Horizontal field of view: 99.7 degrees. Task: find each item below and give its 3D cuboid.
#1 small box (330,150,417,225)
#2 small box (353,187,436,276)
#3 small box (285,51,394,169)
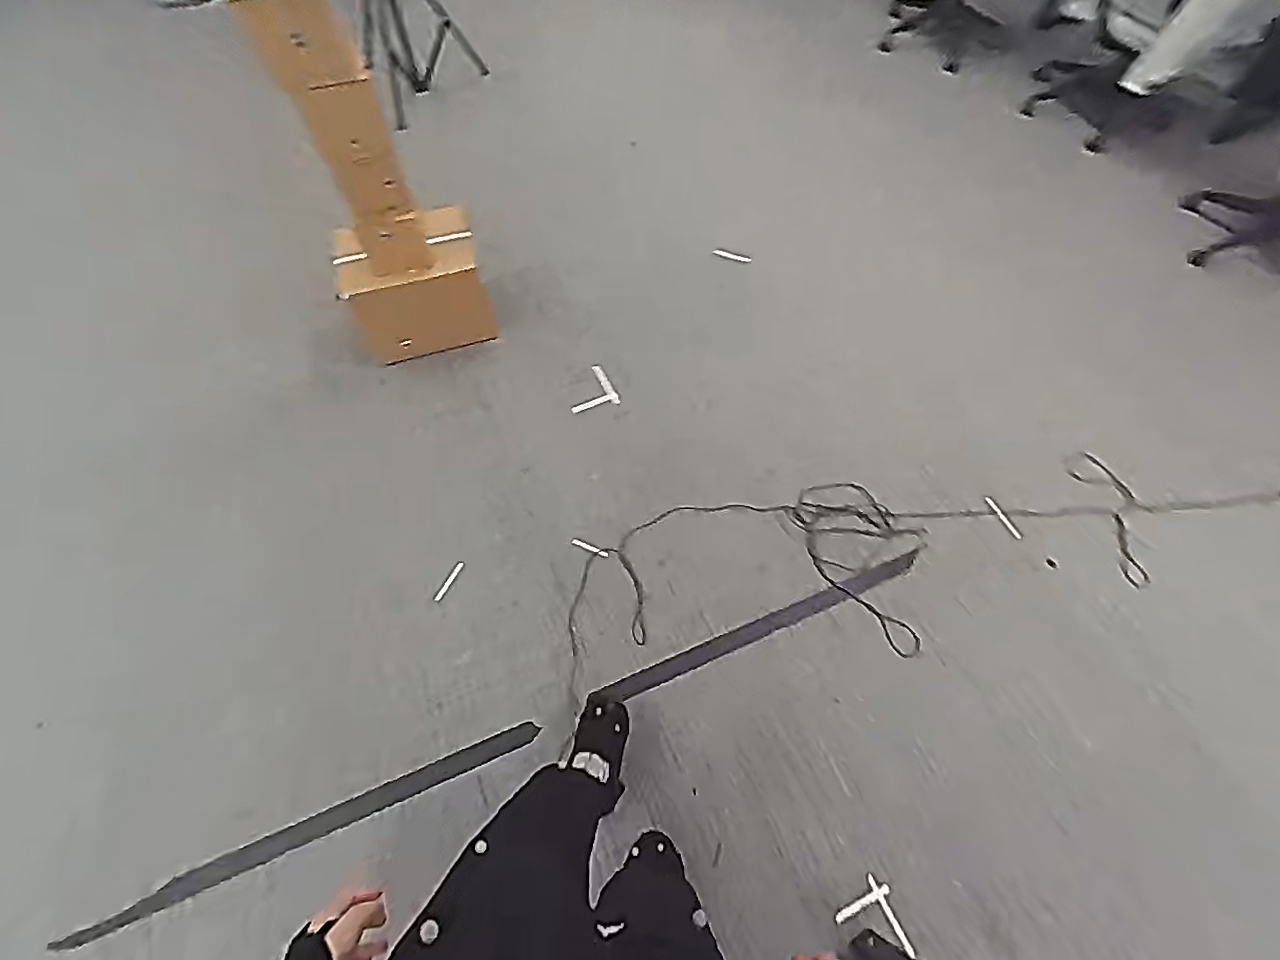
[{"bbox_3d":[-0.725,-0.812,1.449,0.168,0.176,0.179,-27,65,-16],"label":"small box"},{"bbox_3d":[-0.718,-0.724,1.586,0.179,0.176,0.168,-13,63,-9],"label":"small box"},{"bbox_3d":[-0.714,-0.889,1.305,0.179,0.176,0.168,-21,64,-13],"label":"small box"}]
